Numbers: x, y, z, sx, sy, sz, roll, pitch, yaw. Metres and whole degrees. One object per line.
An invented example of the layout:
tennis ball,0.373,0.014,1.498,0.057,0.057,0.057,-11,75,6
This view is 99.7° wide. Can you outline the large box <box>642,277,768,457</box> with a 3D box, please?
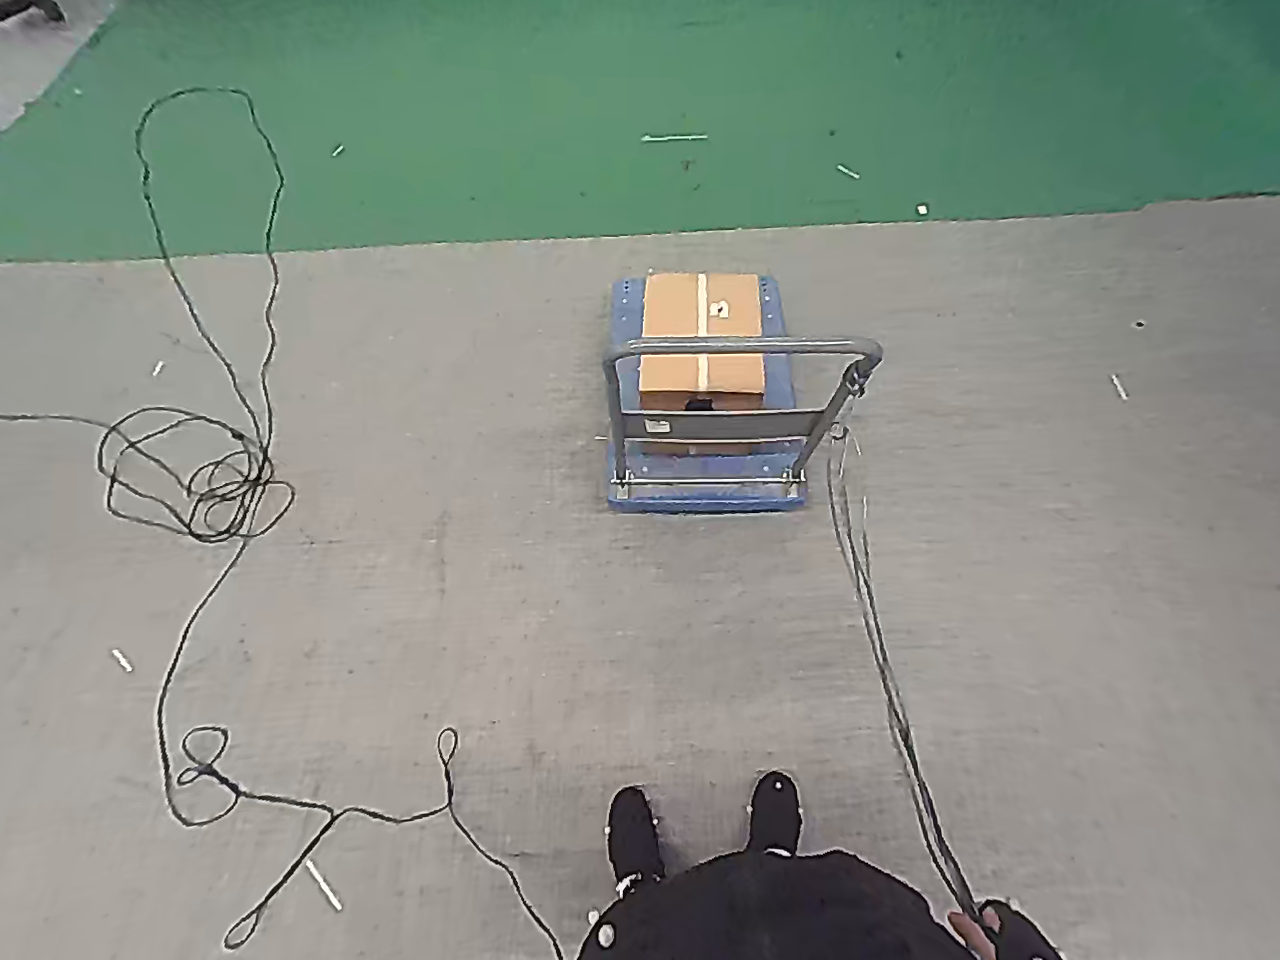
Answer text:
large box,0.172,-0.311,1.534,0.320,0.320,0.408,2,63,3
